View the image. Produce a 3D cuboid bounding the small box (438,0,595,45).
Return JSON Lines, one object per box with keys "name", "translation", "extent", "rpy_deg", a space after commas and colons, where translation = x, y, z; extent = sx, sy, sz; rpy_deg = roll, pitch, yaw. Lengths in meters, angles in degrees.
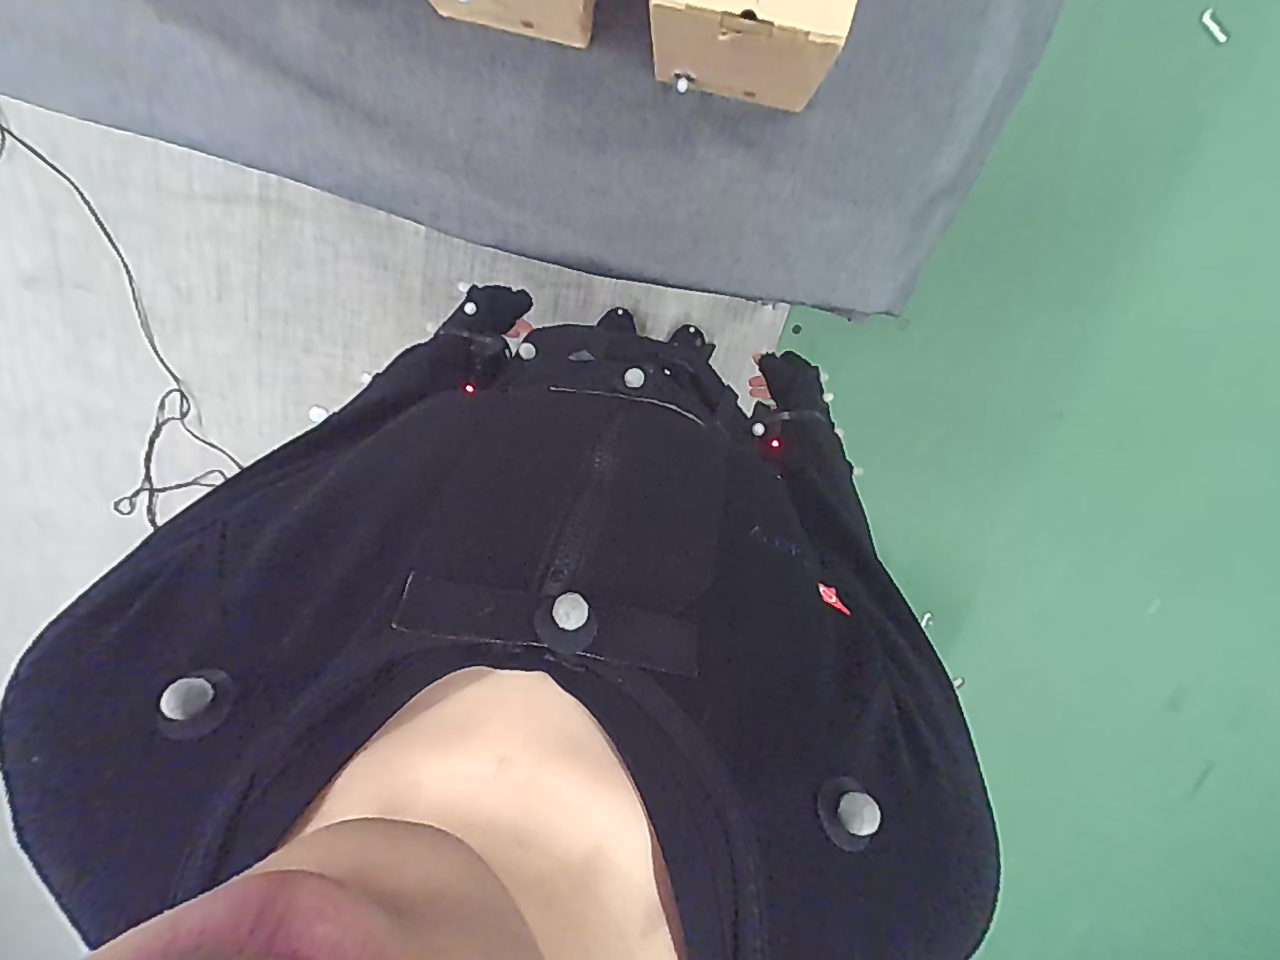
{"name": "small box", "translation": [-0.122, -0.532, 0.477], "extent": [0.168, 0.176, 0.179], "rpy_deg": [12, 108, -1]}
